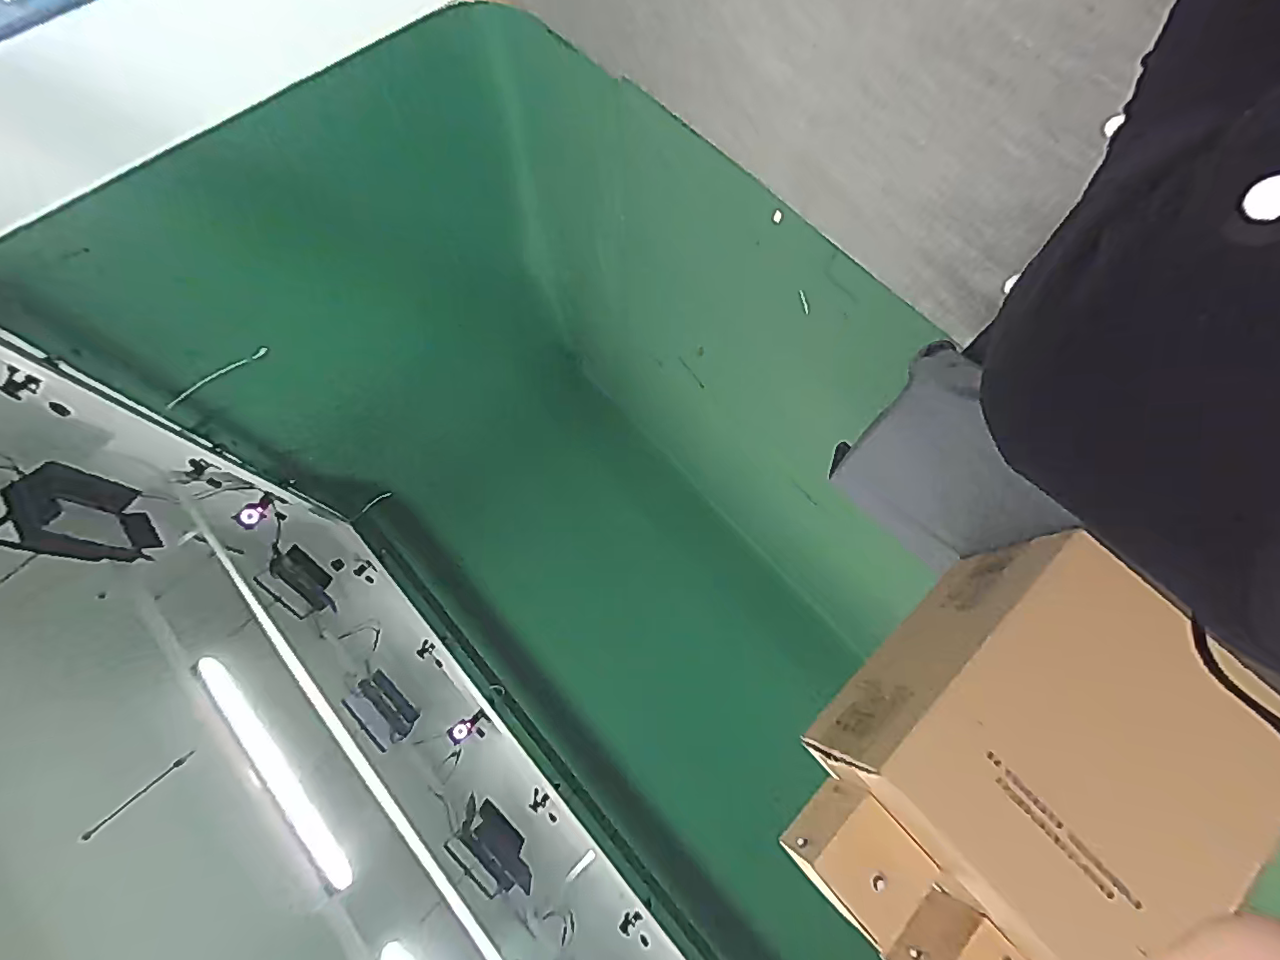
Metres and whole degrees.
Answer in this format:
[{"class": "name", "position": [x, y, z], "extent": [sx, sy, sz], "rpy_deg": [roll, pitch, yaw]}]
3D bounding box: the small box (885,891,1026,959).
[{"class": "small box", "position": [0.582, 0.881, 0.951], "extent": [0.168, 0.176, 0.179], "rpy_deg": [48, 163, 13]}]

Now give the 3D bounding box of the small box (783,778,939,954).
[{"class": "small box", "position": [0.407, 0.701, 1.007], "extent": [0.179, 0.176, 0.168], "rpy_deg": [46, 162, 11]}]
